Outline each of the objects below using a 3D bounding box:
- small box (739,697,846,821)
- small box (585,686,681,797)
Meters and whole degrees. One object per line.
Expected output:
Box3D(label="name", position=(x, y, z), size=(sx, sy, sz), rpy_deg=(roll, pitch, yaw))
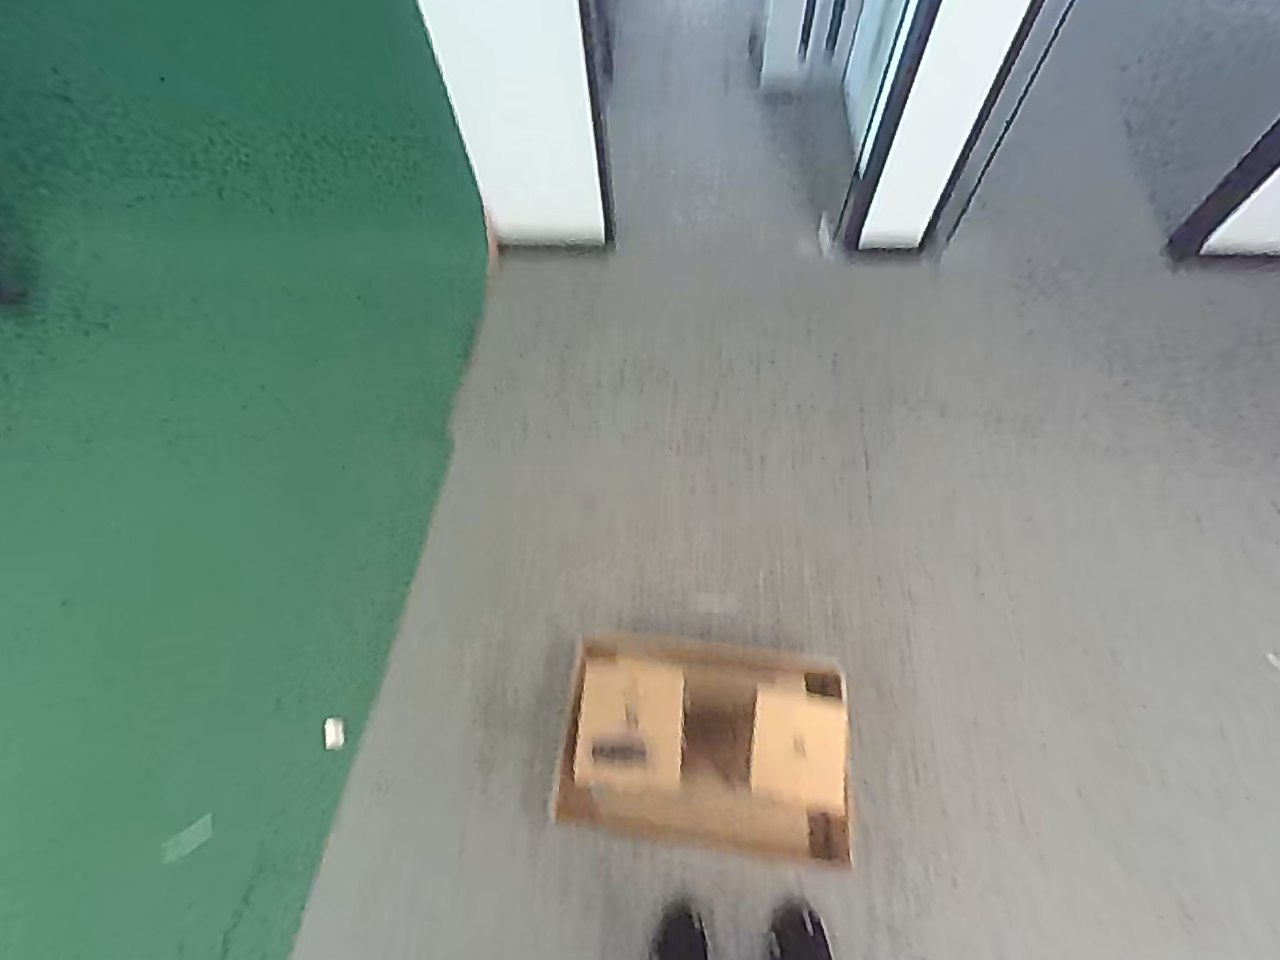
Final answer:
Box3D(label="small box", position=(0.292, 0.540, 1.053), size=(0.168, 0.176, 0.179), rpy_deg=(9, 63, 7))
Box3D(label="small box", position=(-0.007, 0.523, 1.076), size=(0.168, 0.176, 0.179), rpy_deg=(3, 60, 6))
